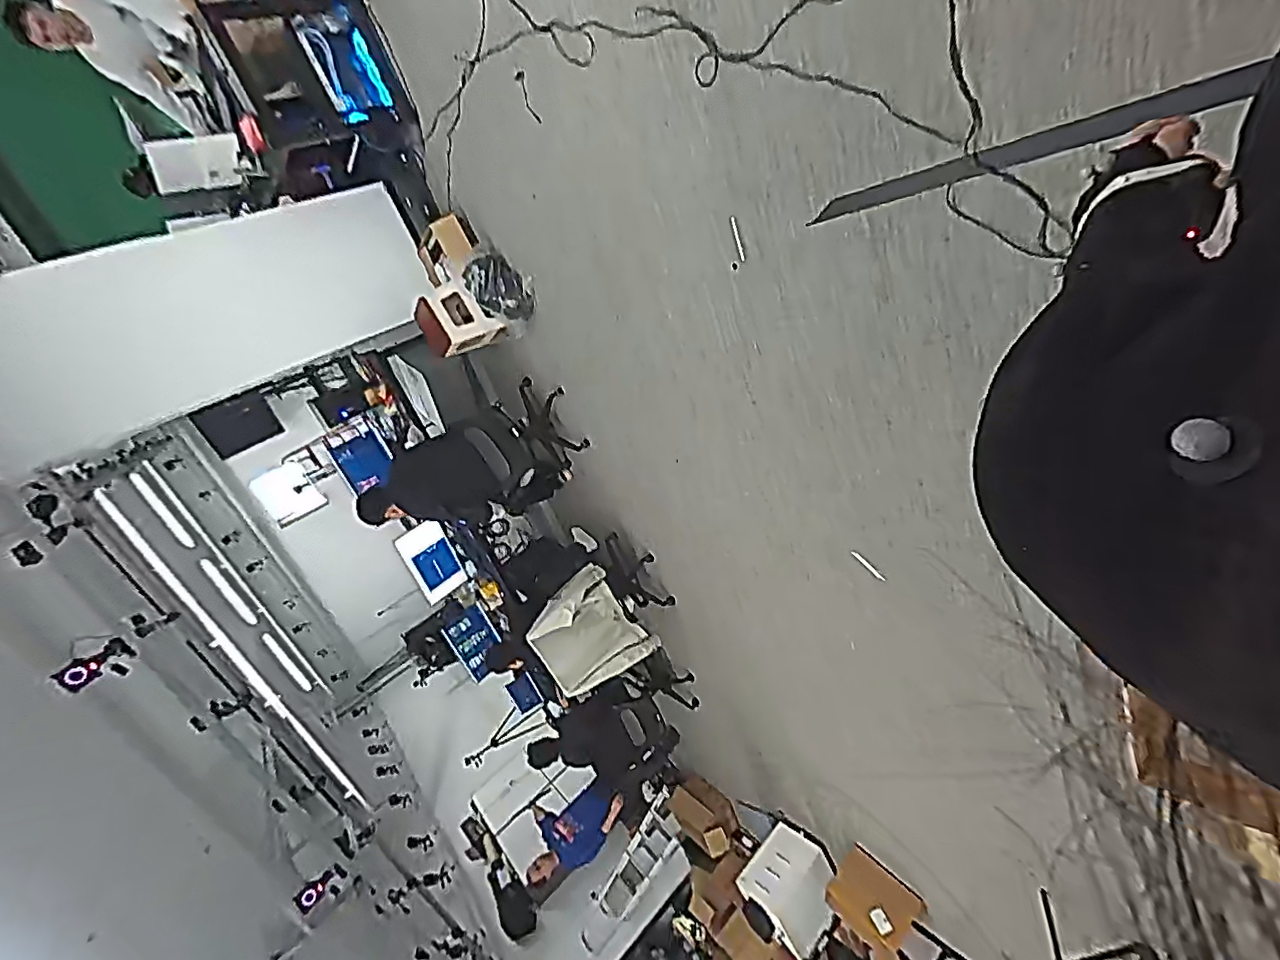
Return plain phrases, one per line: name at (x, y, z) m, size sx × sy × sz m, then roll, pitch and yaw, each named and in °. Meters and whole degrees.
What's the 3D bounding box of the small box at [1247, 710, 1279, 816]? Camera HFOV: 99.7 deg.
small box at (1.553, 0.679, 1.256) m, size 0.168 × 0.176 × 0.179 m, roll 2°, pitch 122°, yaw 55°
